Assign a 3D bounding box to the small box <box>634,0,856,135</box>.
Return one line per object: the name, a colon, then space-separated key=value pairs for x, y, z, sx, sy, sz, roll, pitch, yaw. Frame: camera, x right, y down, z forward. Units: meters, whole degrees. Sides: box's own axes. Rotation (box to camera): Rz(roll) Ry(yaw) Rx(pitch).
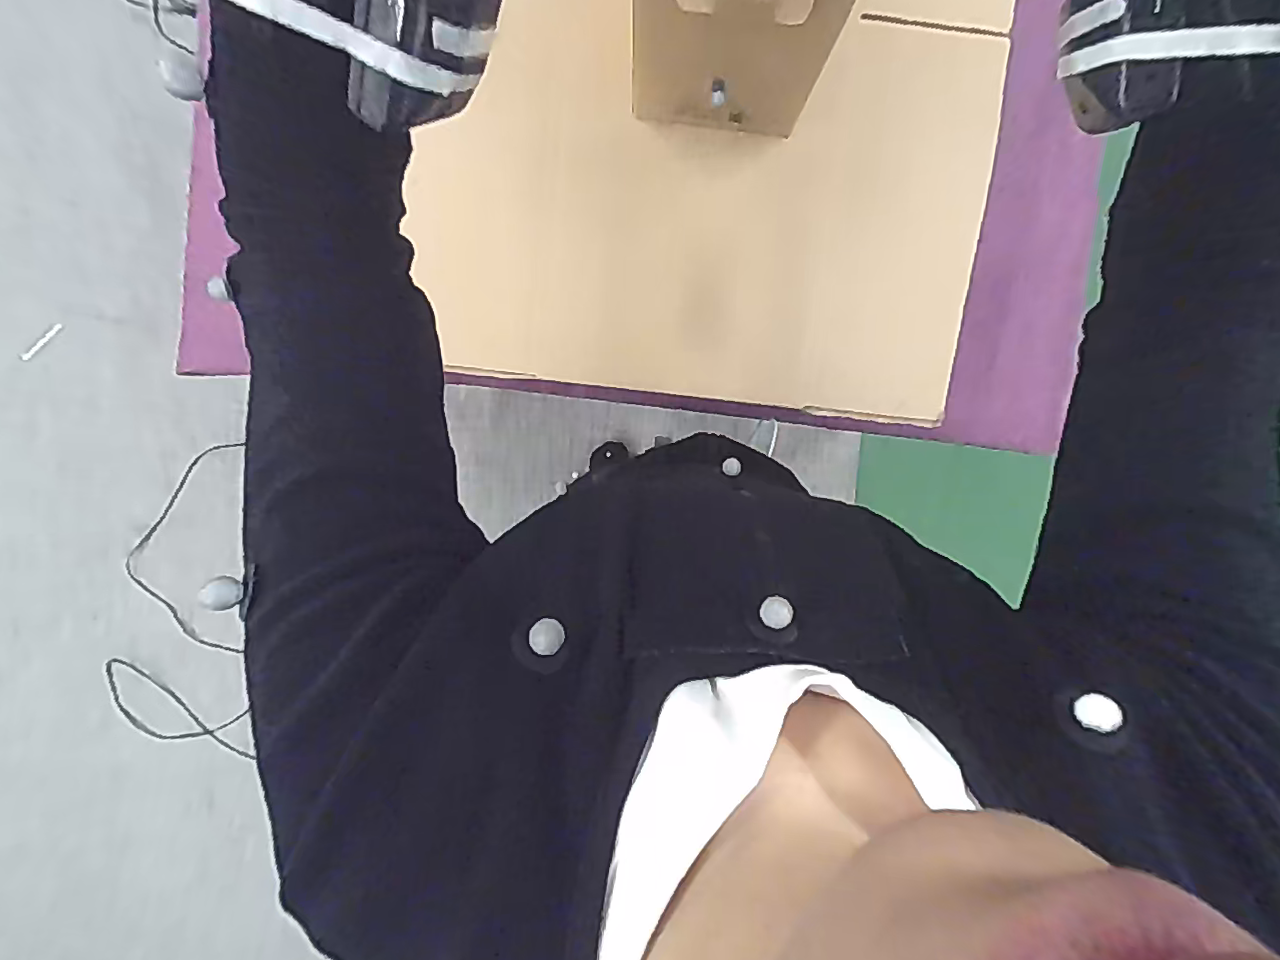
small box: x=0.085 y=-0.445 z=0.467 sx=0.168 sy=0.176 sz=0.179 roll=7 pitch=92 yaw=-1
